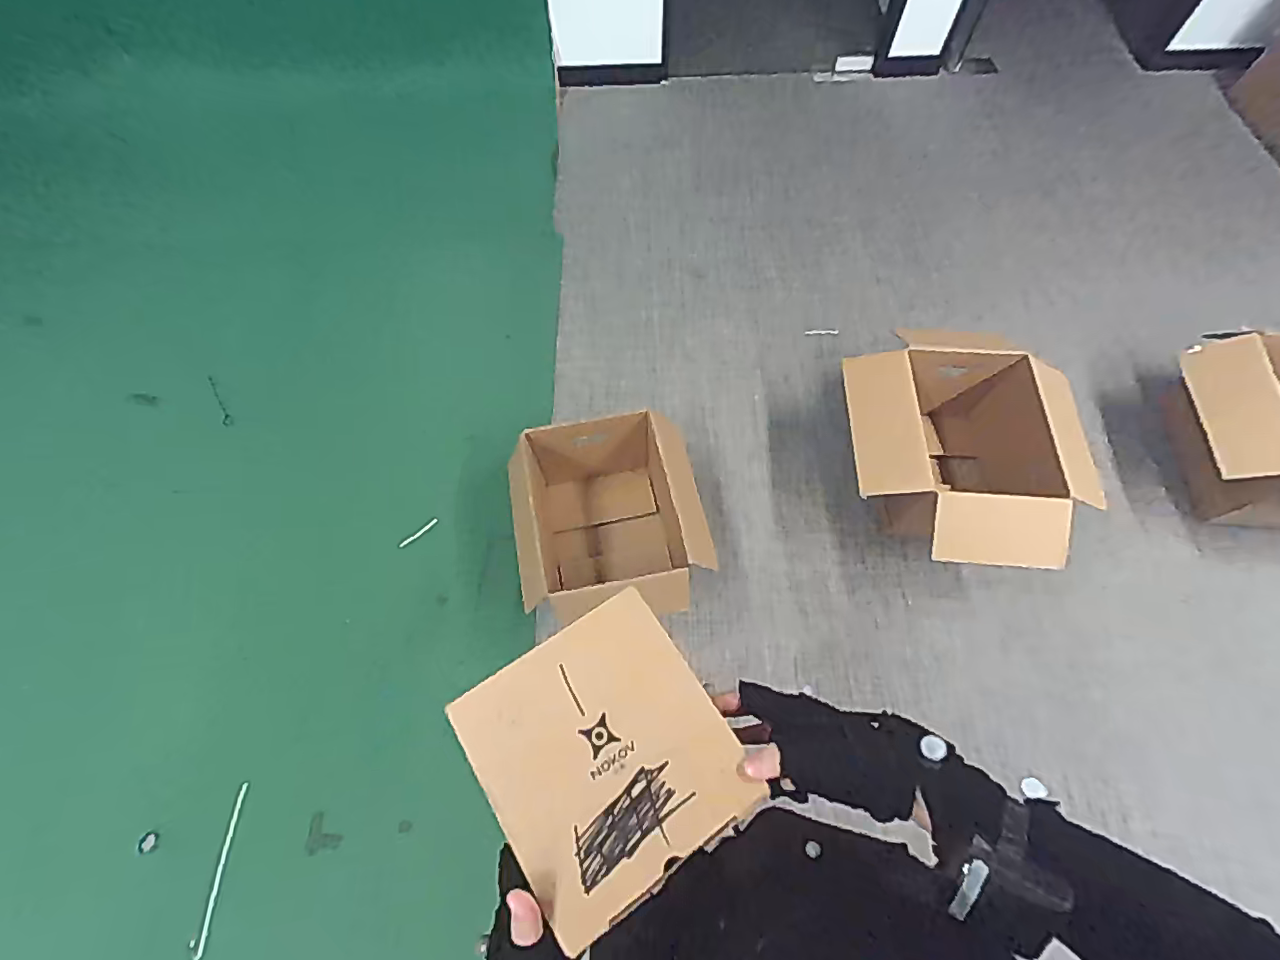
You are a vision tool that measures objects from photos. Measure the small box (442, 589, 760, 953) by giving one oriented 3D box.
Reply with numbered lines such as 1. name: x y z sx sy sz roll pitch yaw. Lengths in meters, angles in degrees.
1. small box: -0.030 0.220 0.453 0.168 0.176 0.179 -31 71 -14
